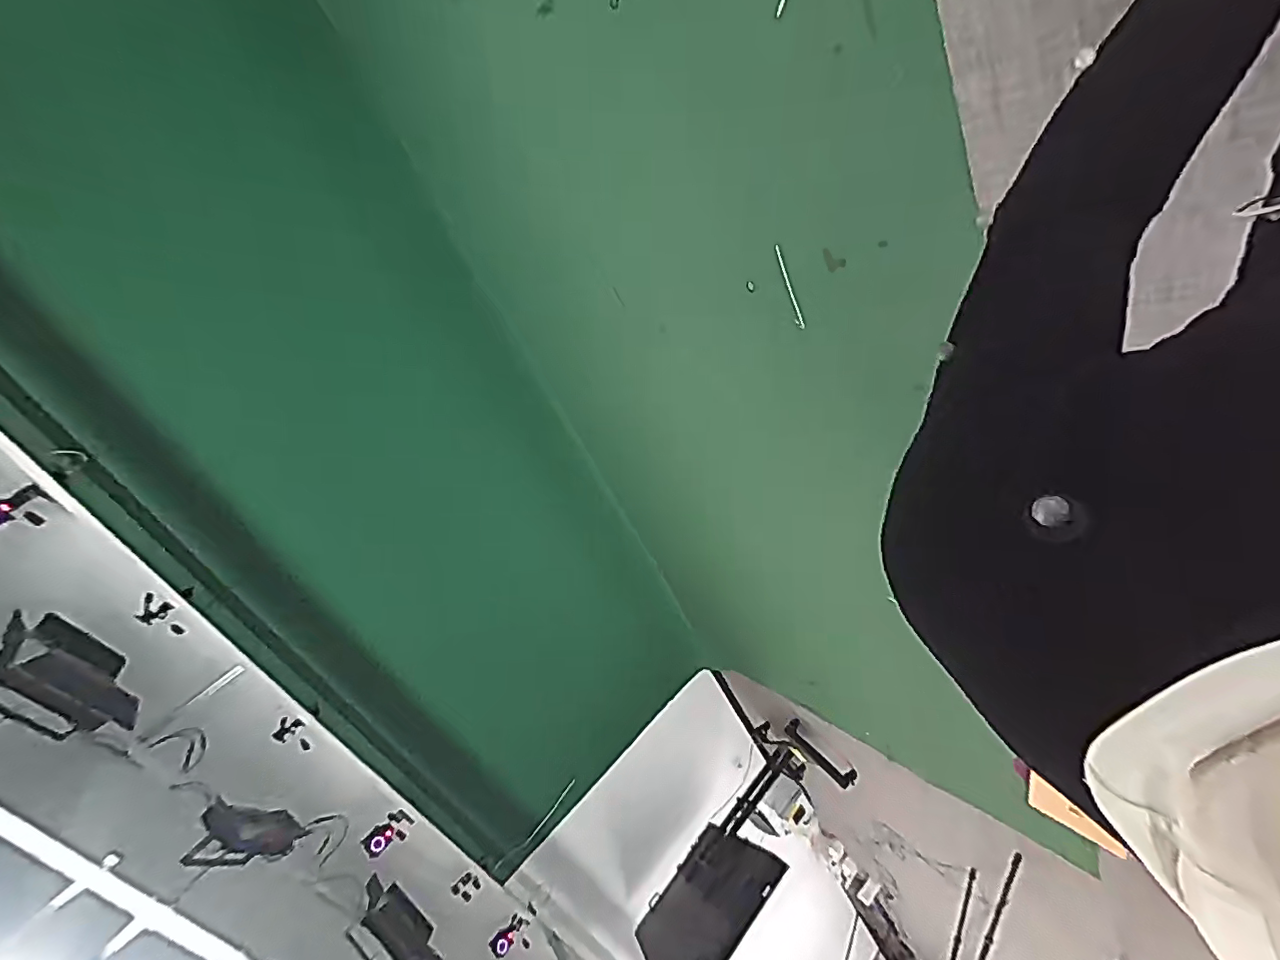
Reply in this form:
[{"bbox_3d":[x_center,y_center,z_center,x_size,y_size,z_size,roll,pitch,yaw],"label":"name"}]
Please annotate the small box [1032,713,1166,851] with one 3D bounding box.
[{"bbox_3d":[0.986,0.639,1.170,0.179,0.176,0.168,20,143,48],"label":"small box"}]
